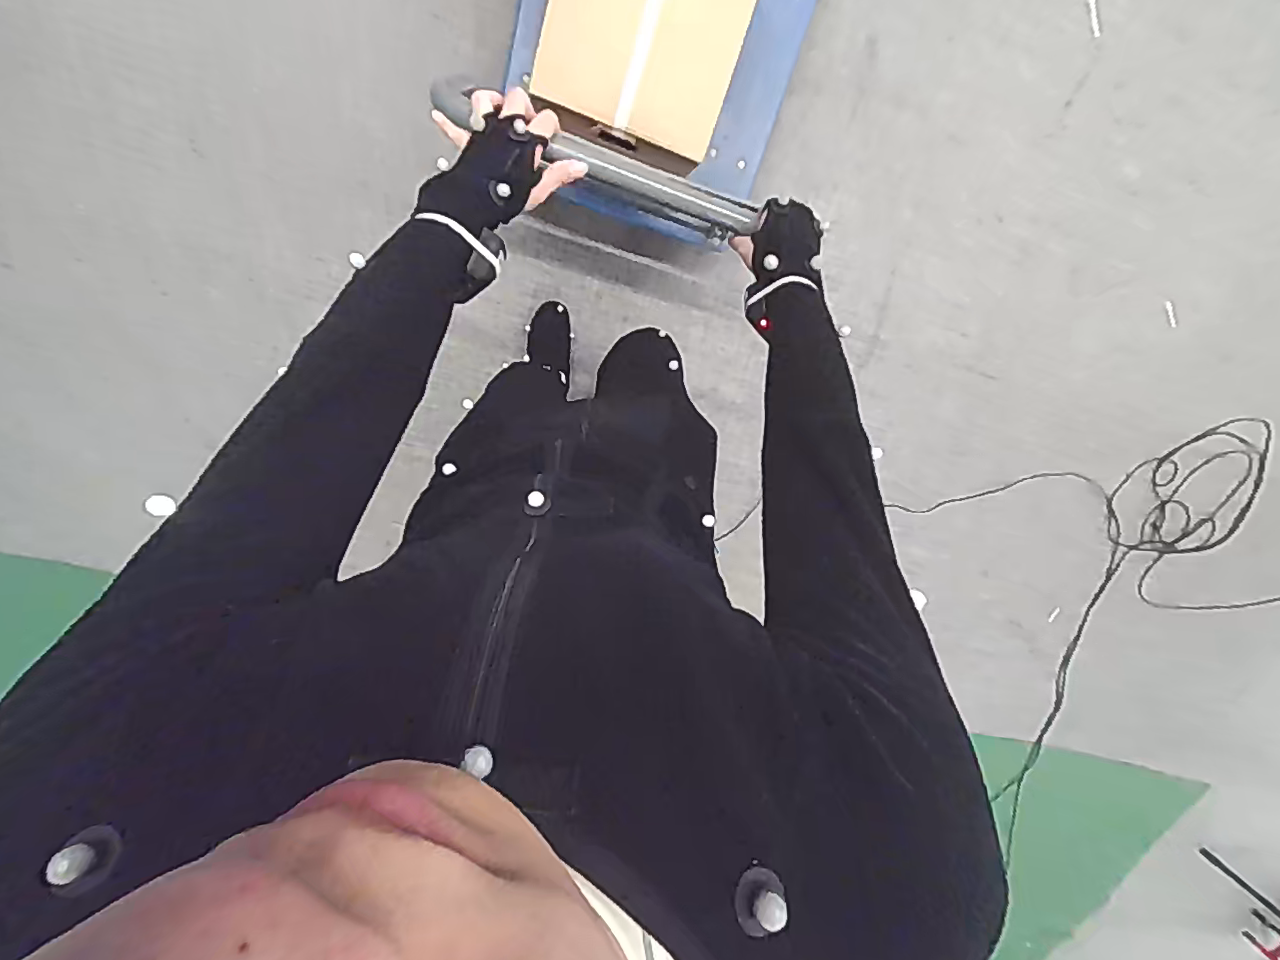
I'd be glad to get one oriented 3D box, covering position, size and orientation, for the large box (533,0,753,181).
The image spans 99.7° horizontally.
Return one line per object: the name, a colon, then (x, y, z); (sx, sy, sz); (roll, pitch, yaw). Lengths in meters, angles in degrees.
large box: (0.013, -0.832, 0.992); (0.320, 0.320, 0.408); (15, 109, -12)
